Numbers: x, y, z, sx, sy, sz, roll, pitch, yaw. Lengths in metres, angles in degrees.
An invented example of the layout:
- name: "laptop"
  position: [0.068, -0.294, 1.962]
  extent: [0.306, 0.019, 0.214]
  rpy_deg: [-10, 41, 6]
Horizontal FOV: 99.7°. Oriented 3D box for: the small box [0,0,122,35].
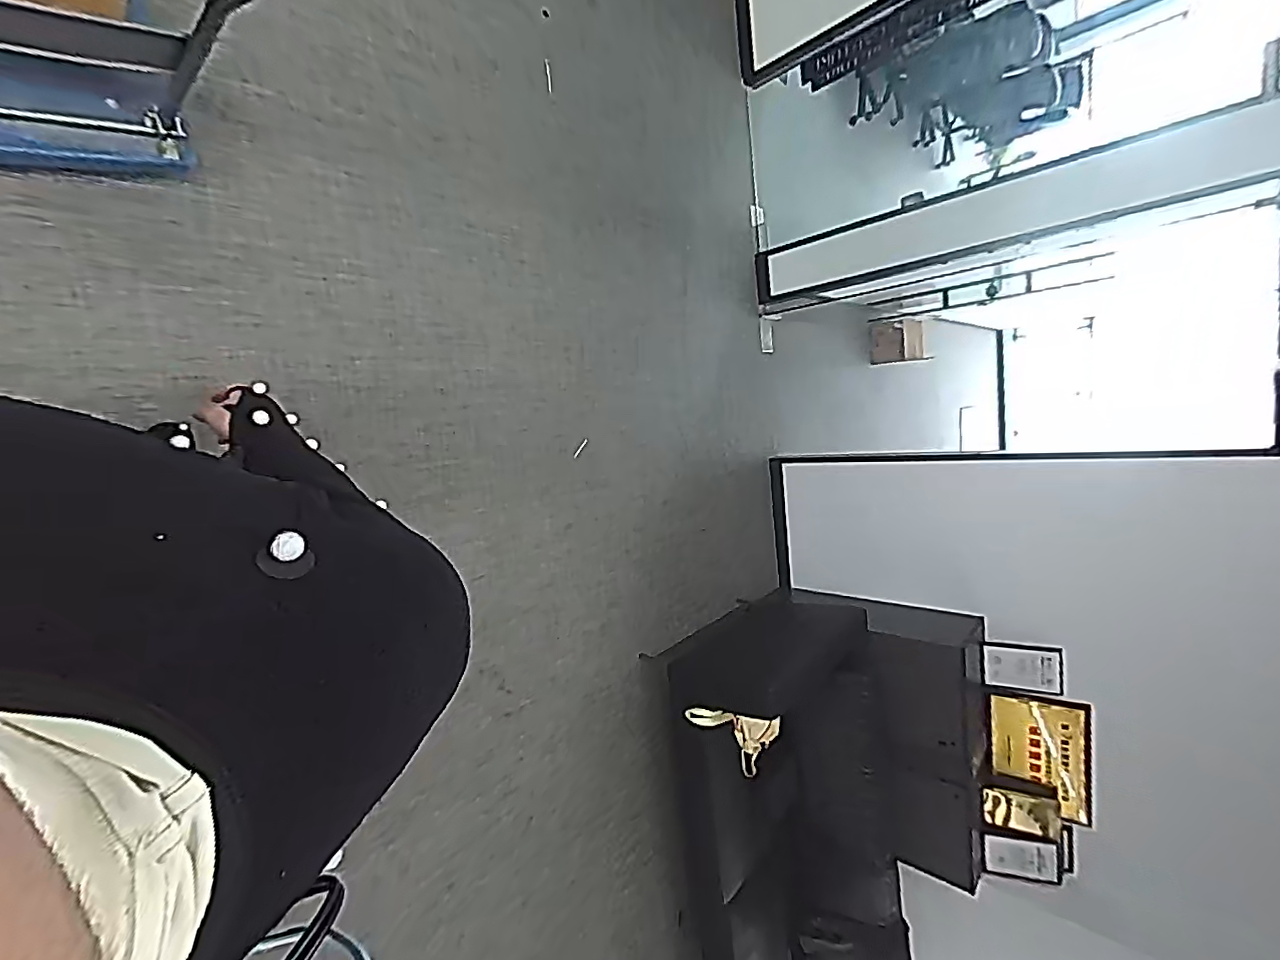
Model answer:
- name: "small box"
  position: [-1.055, -0.944, 0.950]
  extent: [0.168, 0.176, 0.179]
  rpy_deg: [-23, 109, -44]
